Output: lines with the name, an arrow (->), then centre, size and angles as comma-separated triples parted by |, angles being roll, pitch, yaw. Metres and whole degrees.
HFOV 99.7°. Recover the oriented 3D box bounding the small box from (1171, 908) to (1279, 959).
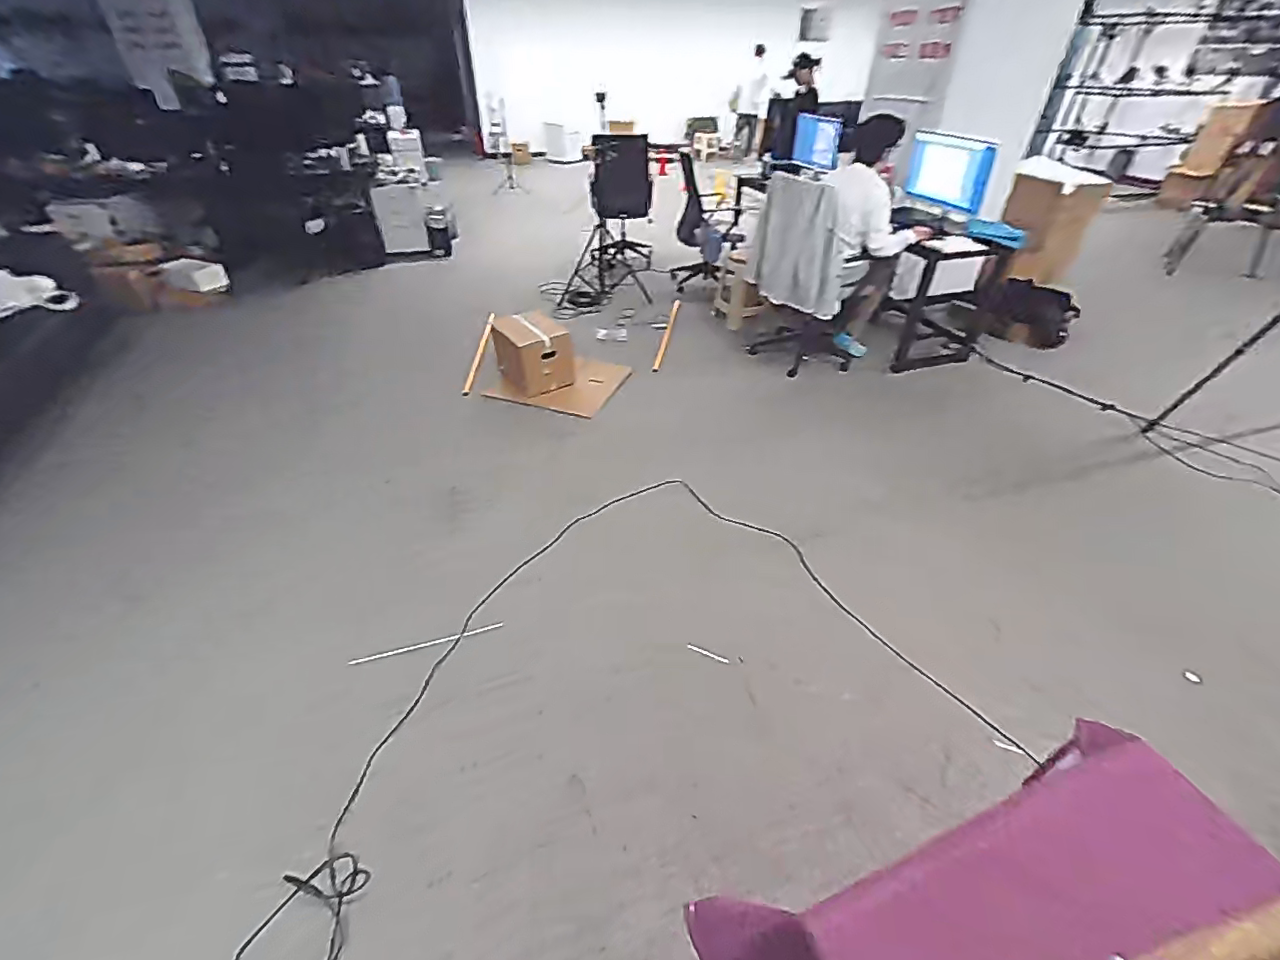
small box -> 0.433, 0.426, 0.351 | 0.168, 0.176, 0.179 | -13, 40, -15
